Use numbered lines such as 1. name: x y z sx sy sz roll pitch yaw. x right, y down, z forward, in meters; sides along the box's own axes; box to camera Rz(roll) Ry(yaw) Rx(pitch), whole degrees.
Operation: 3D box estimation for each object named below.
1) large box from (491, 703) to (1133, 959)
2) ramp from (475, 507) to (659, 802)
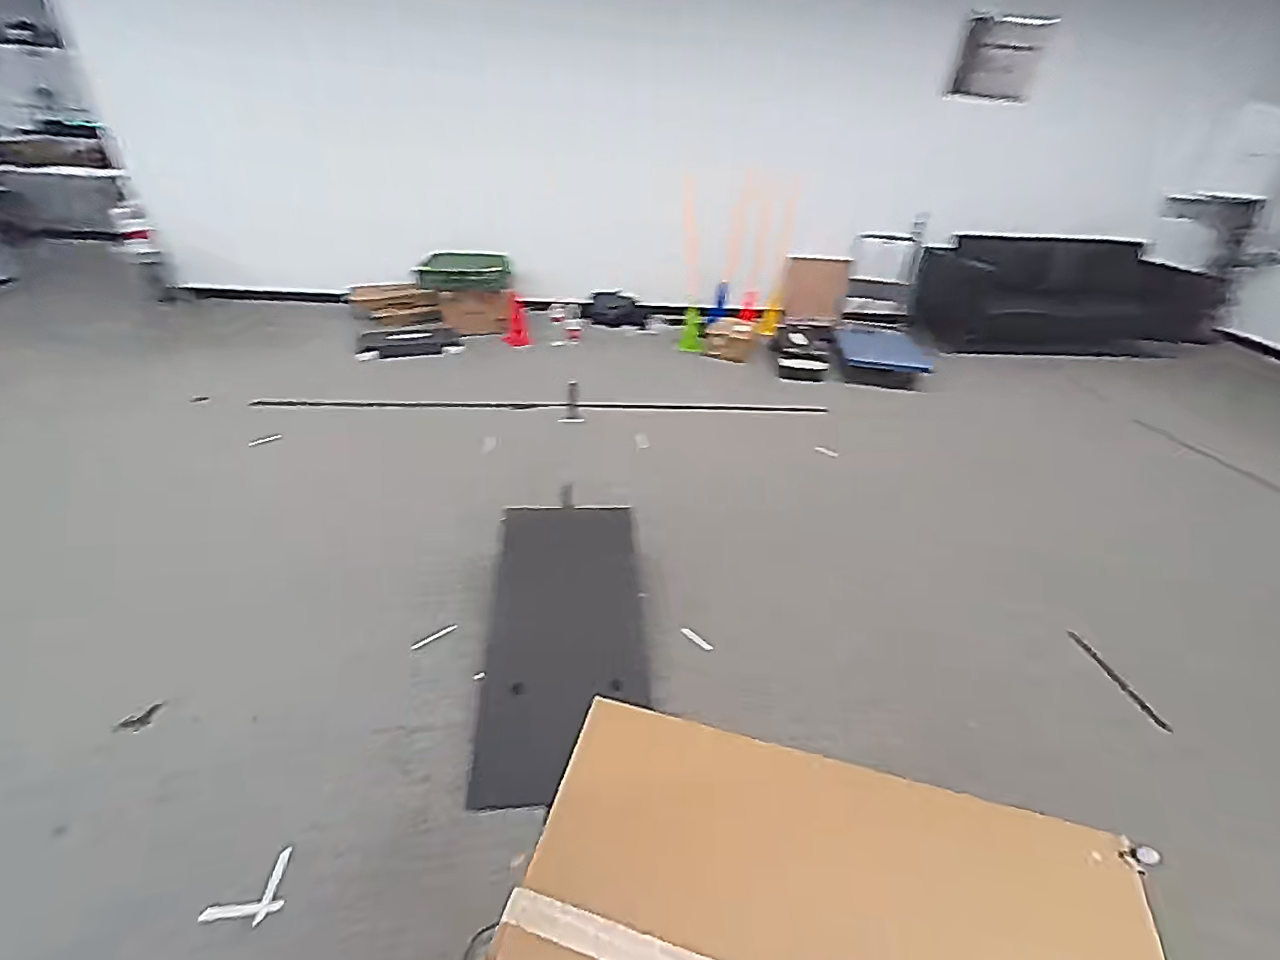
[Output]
1. large box: 0.107 0.434 0.434 0.408 0.320 0.320 8 44 14
2. ramp: -0.209 0.460 1.728 0.509 0.206 0.991 0 34 -8
